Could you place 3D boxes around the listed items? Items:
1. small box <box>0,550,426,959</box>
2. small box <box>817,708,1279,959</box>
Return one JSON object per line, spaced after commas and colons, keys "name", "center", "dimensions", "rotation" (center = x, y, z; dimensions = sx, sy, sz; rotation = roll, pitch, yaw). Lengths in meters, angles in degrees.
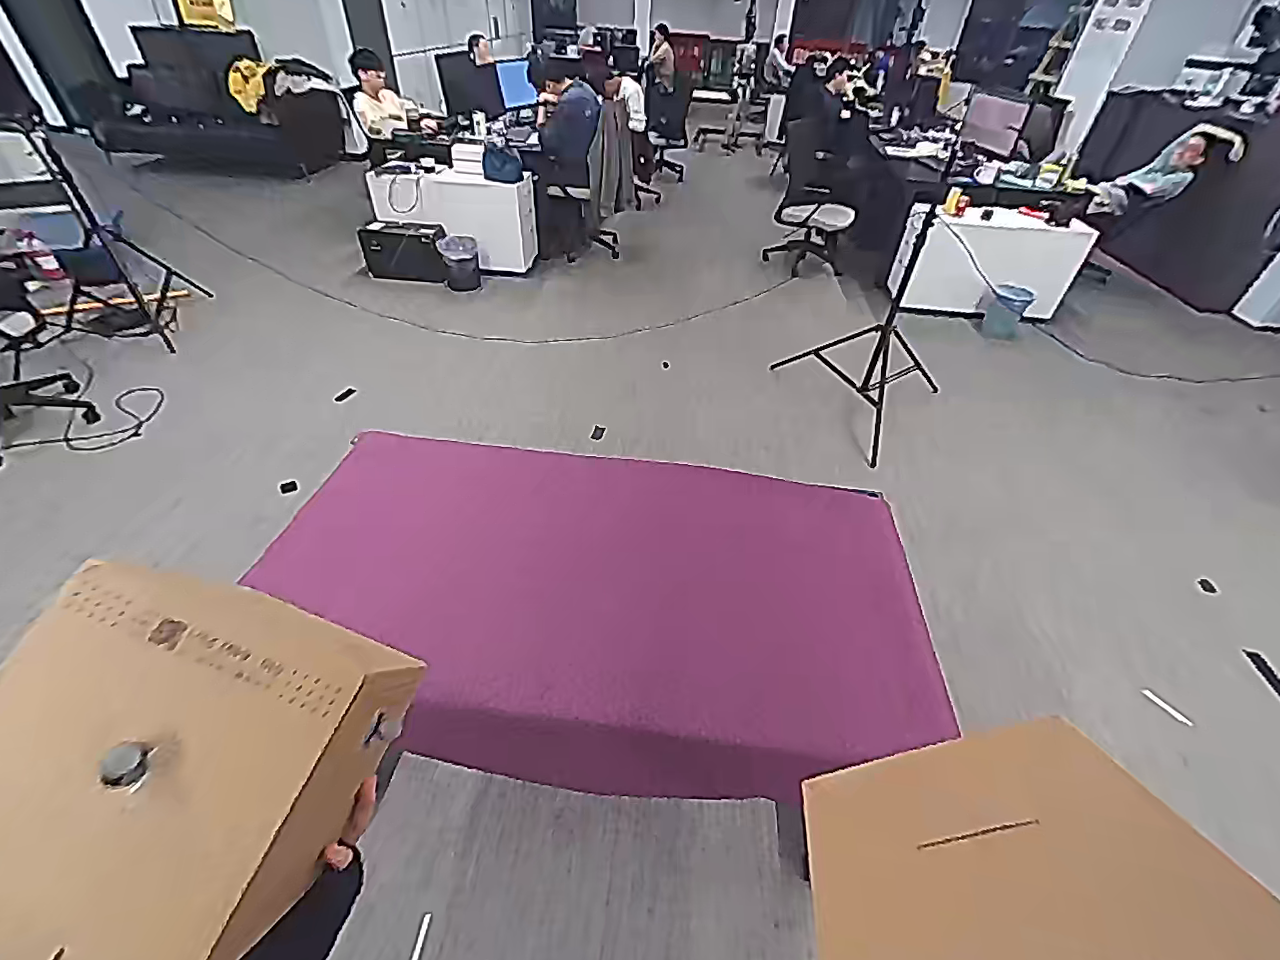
{"name": "small box", "center": [-0.264, 0.159, 0.347], "dimensions": [0.168, 0.179, 0.176], "rotation": [24, 68, -2]}
{"name": "small box", "center": [0.195, 0.238, 0.252], "dimensions": [0.168, 0.176, 0.179], "rotation": [-21, -4, 13]}
